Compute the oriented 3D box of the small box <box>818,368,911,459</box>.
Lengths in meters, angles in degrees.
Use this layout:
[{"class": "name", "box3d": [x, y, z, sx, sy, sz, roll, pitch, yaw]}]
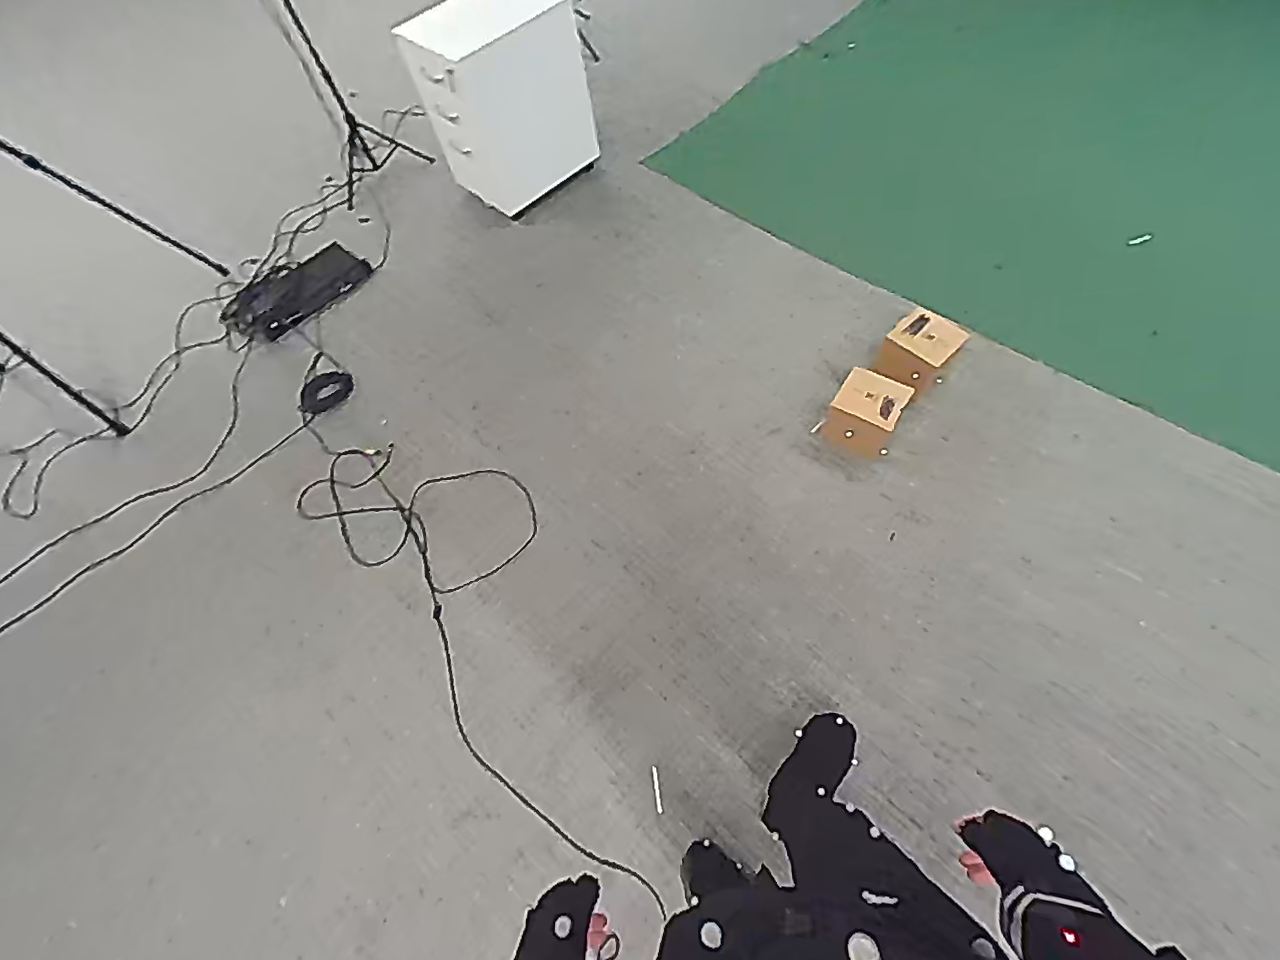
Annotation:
[{"class": "small box", "box3d": [0.640, -0.183, 1.556, 0.179, 0.176, 0.168, 29, 68, 21]}]
